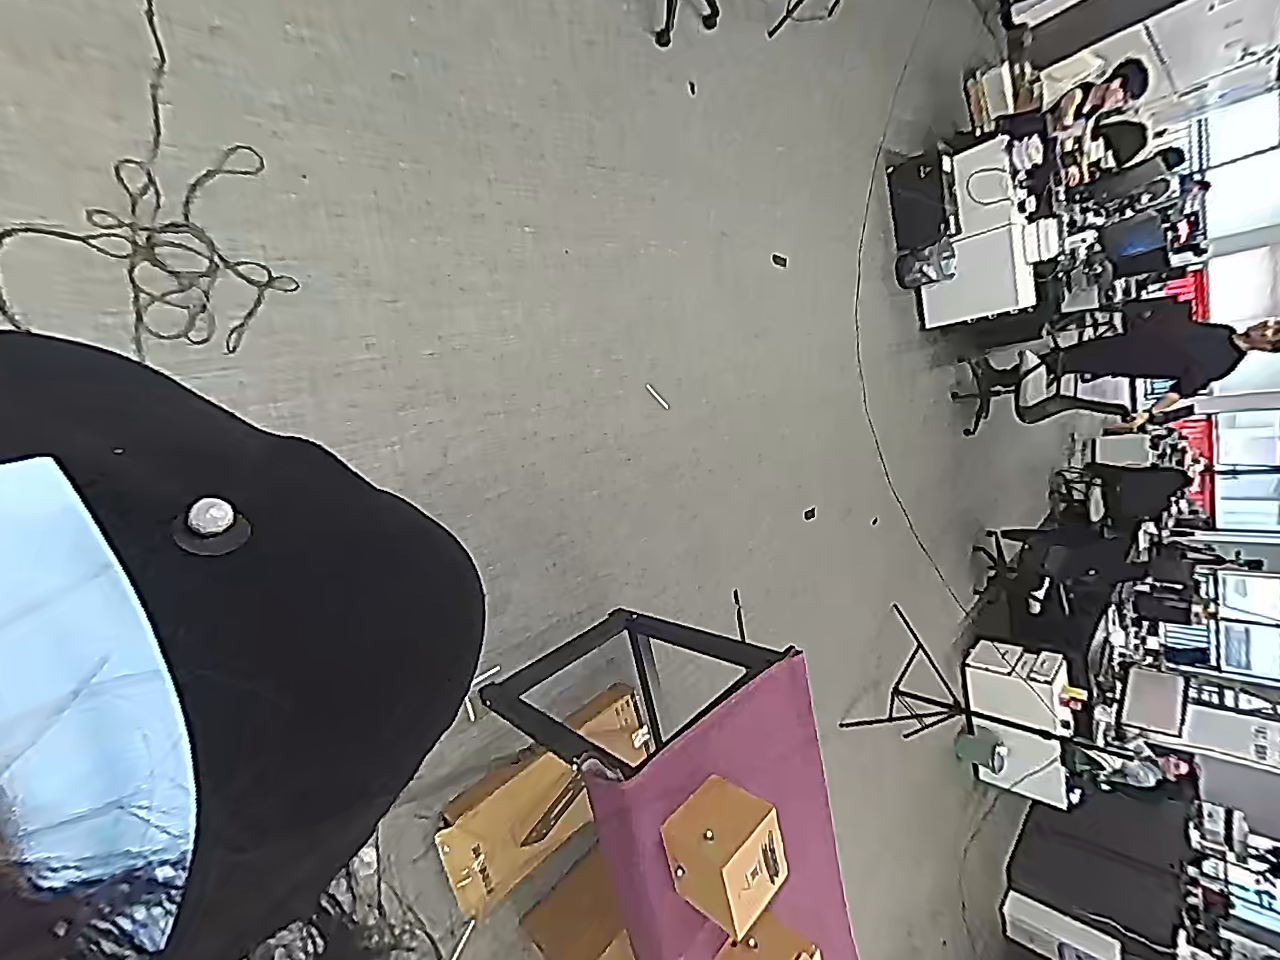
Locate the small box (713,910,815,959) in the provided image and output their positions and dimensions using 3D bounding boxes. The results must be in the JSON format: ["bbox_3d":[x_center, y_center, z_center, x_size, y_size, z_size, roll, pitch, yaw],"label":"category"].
[{"bbox_3d":[0.283,1.127,1.206,0.168,0.176,0.179,-23,105,-42],"label":"small box"}]
